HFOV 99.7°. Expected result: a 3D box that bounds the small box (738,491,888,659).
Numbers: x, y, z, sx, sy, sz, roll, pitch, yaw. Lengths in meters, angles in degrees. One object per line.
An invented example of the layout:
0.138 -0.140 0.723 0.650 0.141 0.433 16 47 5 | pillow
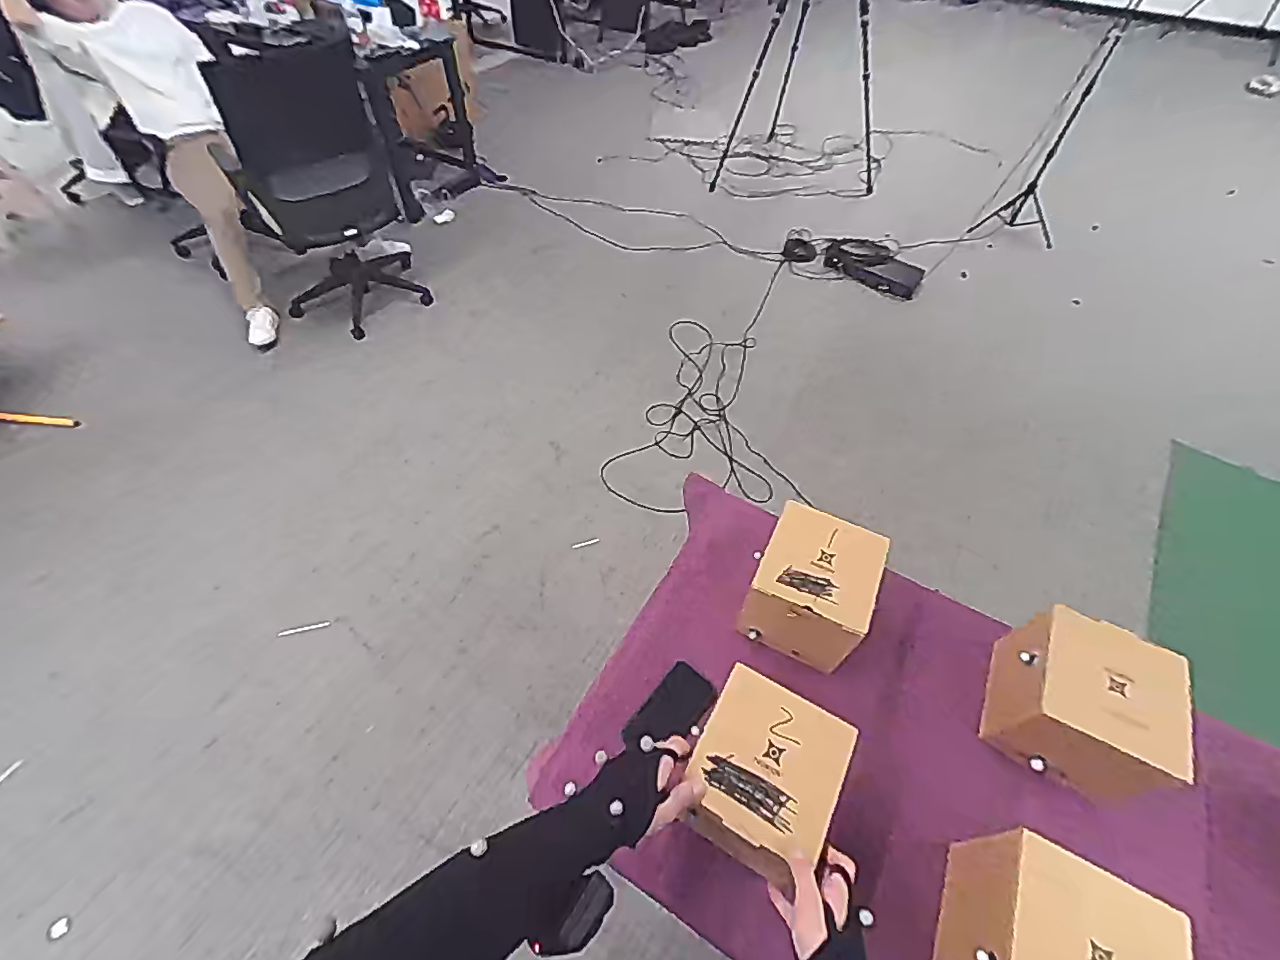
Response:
0.267 0.156 0.864 0.168 0.176 0.179 23 55 14 | small box

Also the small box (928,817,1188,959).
0.451 0.516 0.602 0.168 0.176 0.179 25 56 16 | small box

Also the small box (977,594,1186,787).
0.614 0.301 0.769 0.168 0.176 0.179 25 57 17 | small box
